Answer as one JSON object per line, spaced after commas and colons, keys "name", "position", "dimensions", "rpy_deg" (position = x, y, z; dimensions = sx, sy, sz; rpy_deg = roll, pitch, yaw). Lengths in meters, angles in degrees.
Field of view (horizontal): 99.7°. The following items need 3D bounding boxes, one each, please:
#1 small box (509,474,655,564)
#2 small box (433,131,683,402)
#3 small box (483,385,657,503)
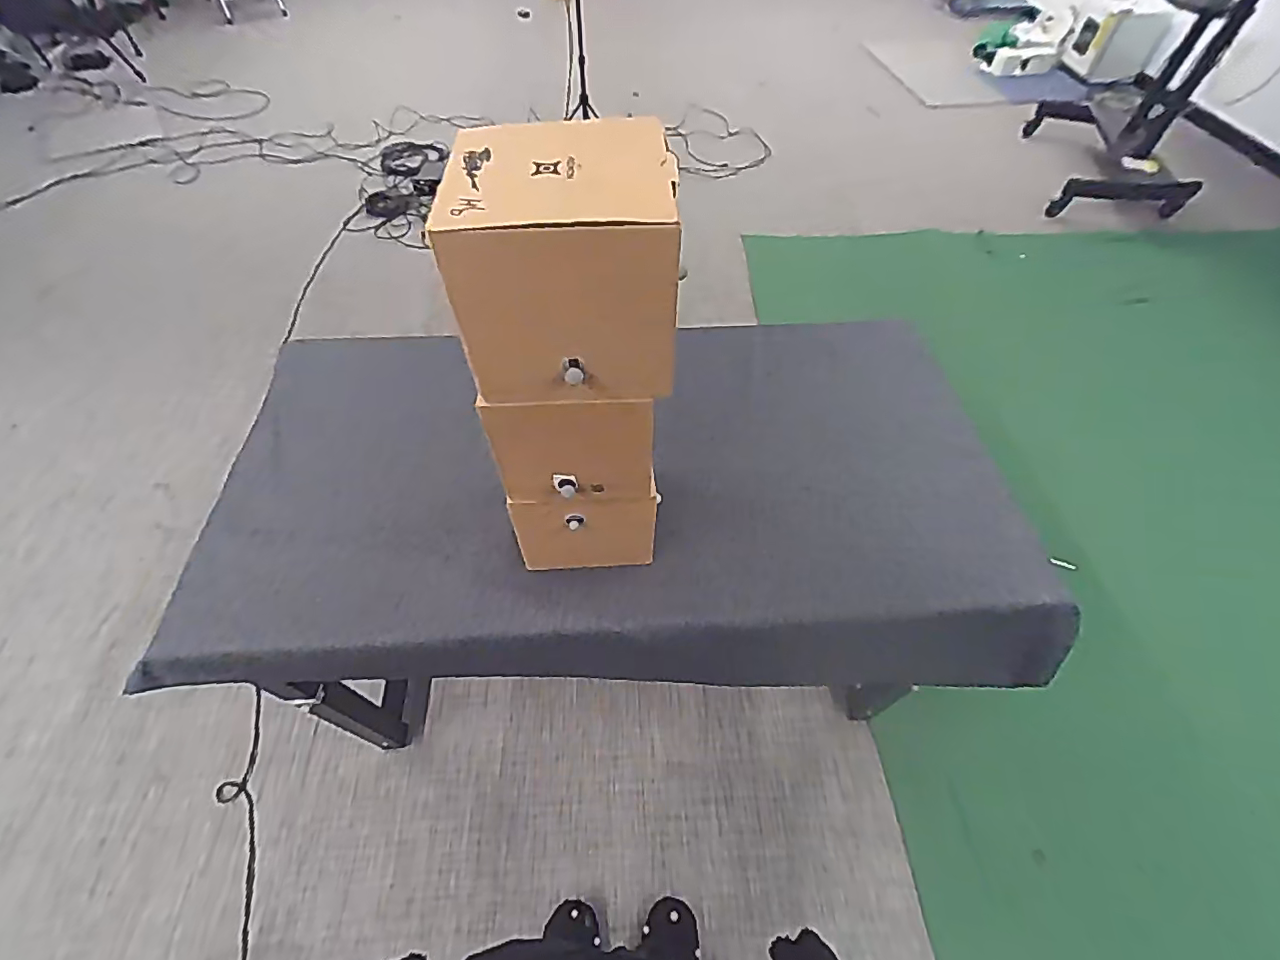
{"name": "small box", "position": [-0.073, 0.006, 0.749], "dimensions": [0.179, 0.176, 0.168], "rpy_deg": [-2, 54, -3]}
{"name": "small box", "position": [-0.061, -0.185, 0.486], "dimensions": [0.179, 0.176, 0.168], "rpy_deg": [-2, 53, -2]}
{"name": "small box", "position": [-0.069, -0.092, 0.621], "dimensions": [0.168, 0.176, 0.179], "rpy_deg": [-3, 55, -1]}
